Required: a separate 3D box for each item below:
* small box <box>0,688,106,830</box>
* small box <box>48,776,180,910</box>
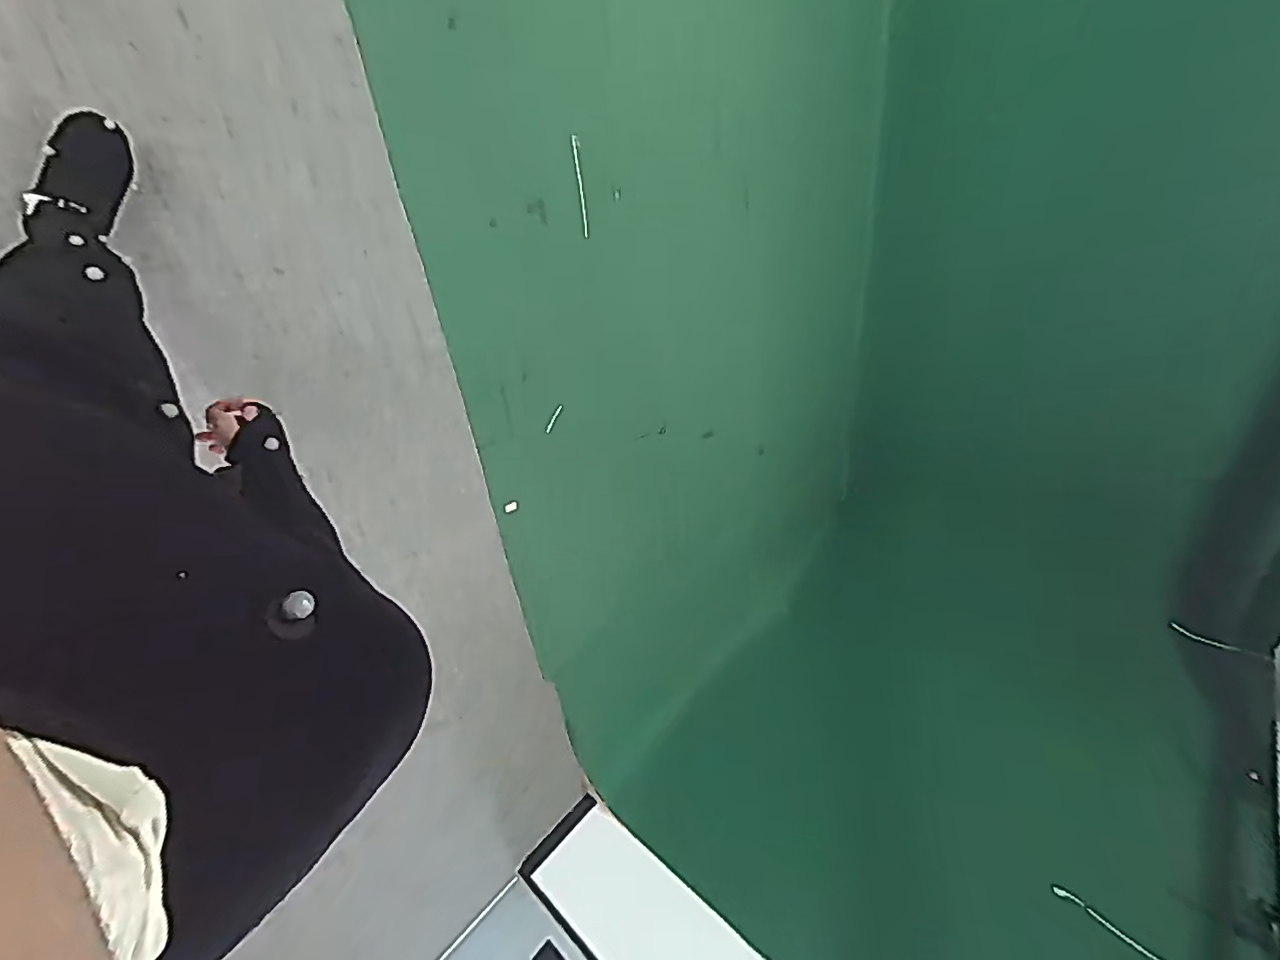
[{"bbox_3d":[-1.319,0.591,1.168,0.179,0.176,0.168,-33,128,-36],"label":"small box"},{"bbox_3d":[-1.285,0.875,1.321,0.179,0.176,0.168,-33,128,-36],"label":"small box"}]
